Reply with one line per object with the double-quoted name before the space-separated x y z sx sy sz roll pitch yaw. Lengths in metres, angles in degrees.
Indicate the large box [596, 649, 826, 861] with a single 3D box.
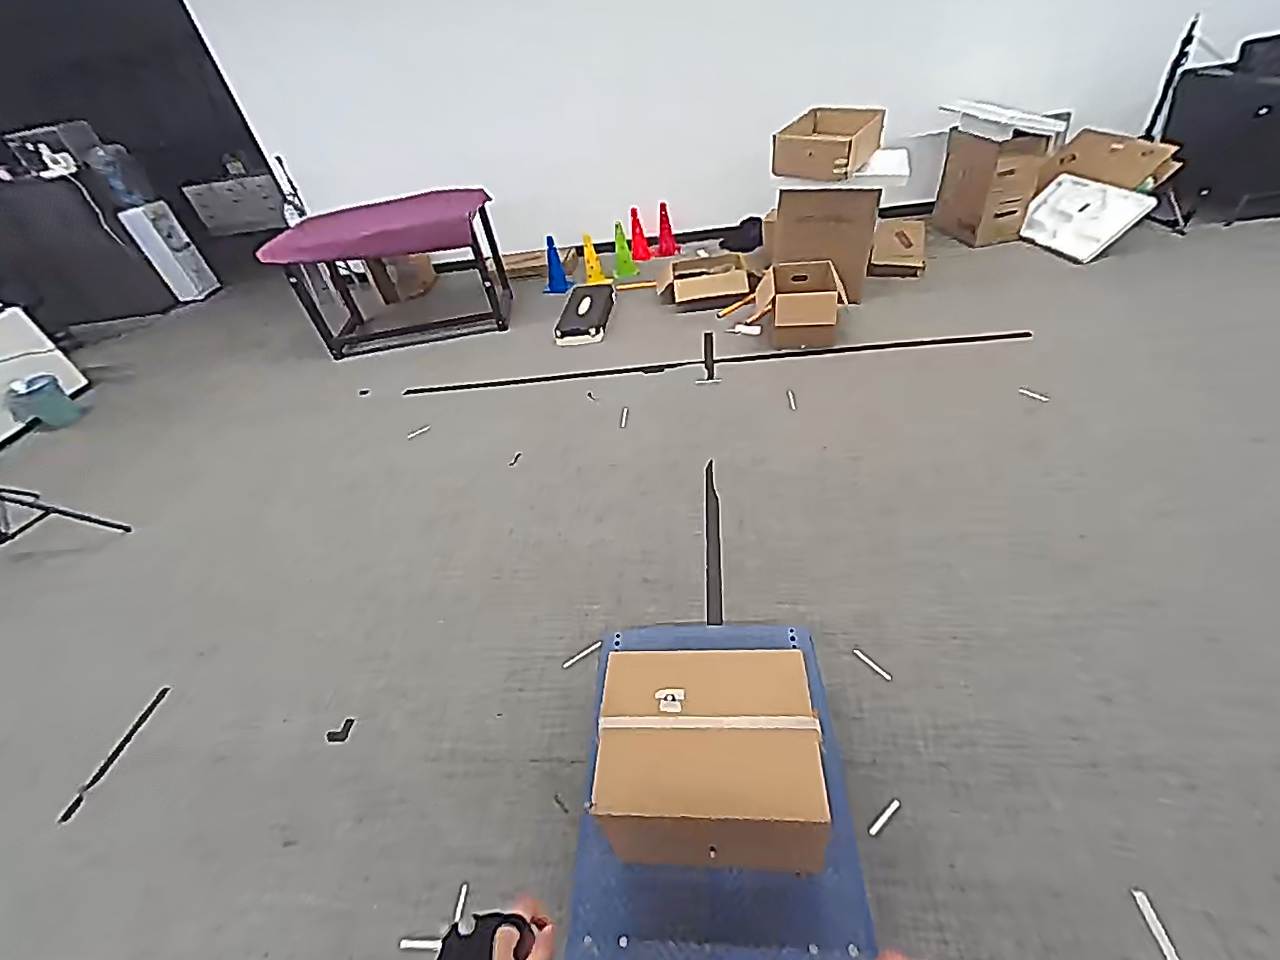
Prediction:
"large box" 0.148 0.581 1.135 0.408 0.320 0.320 -5 40 9
